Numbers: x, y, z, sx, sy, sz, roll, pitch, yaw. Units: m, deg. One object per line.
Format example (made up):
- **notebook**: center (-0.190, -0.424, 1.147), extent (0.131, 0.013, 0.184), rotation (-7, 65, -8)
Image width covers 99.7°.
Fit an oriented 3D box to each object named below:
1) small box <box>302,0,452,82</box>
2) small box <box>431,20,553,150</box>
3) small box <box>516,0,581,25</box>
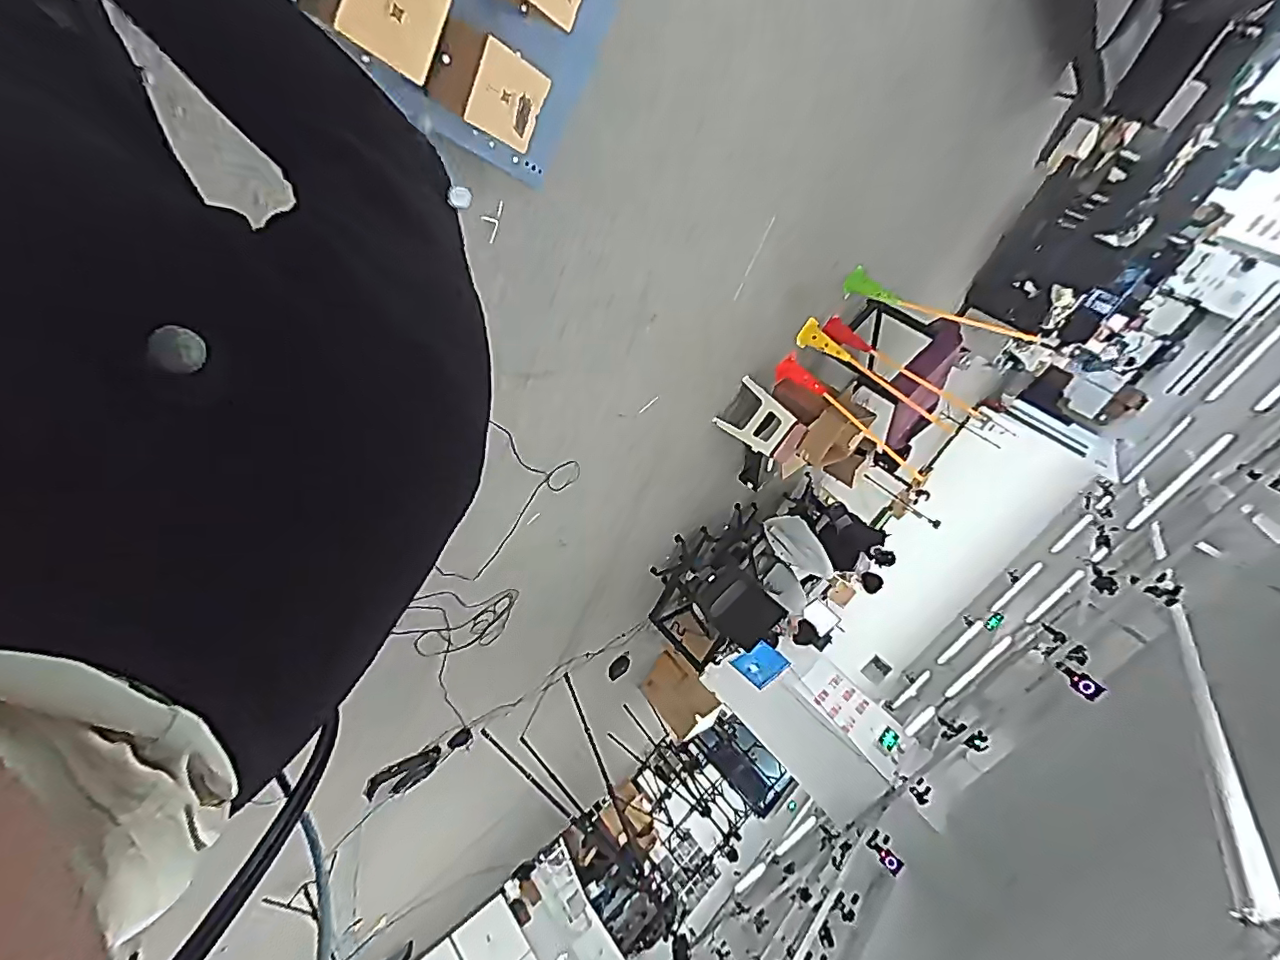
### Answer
- **small box**: center (-0.489, -0.897, 1.005), extent (0.179, 0.176, 0.168), rotation (1, 126, -54)
- **small box**: center (-0.336, -0.892, 1.220), extent (0.179, 0.176, 0.168), rotation (-3, 128, -52)
- **small box**: center (-0.219, -1.097, 1.118), extent (0.179, 0.176, 0.168), rotation (-6, 132, -51)
